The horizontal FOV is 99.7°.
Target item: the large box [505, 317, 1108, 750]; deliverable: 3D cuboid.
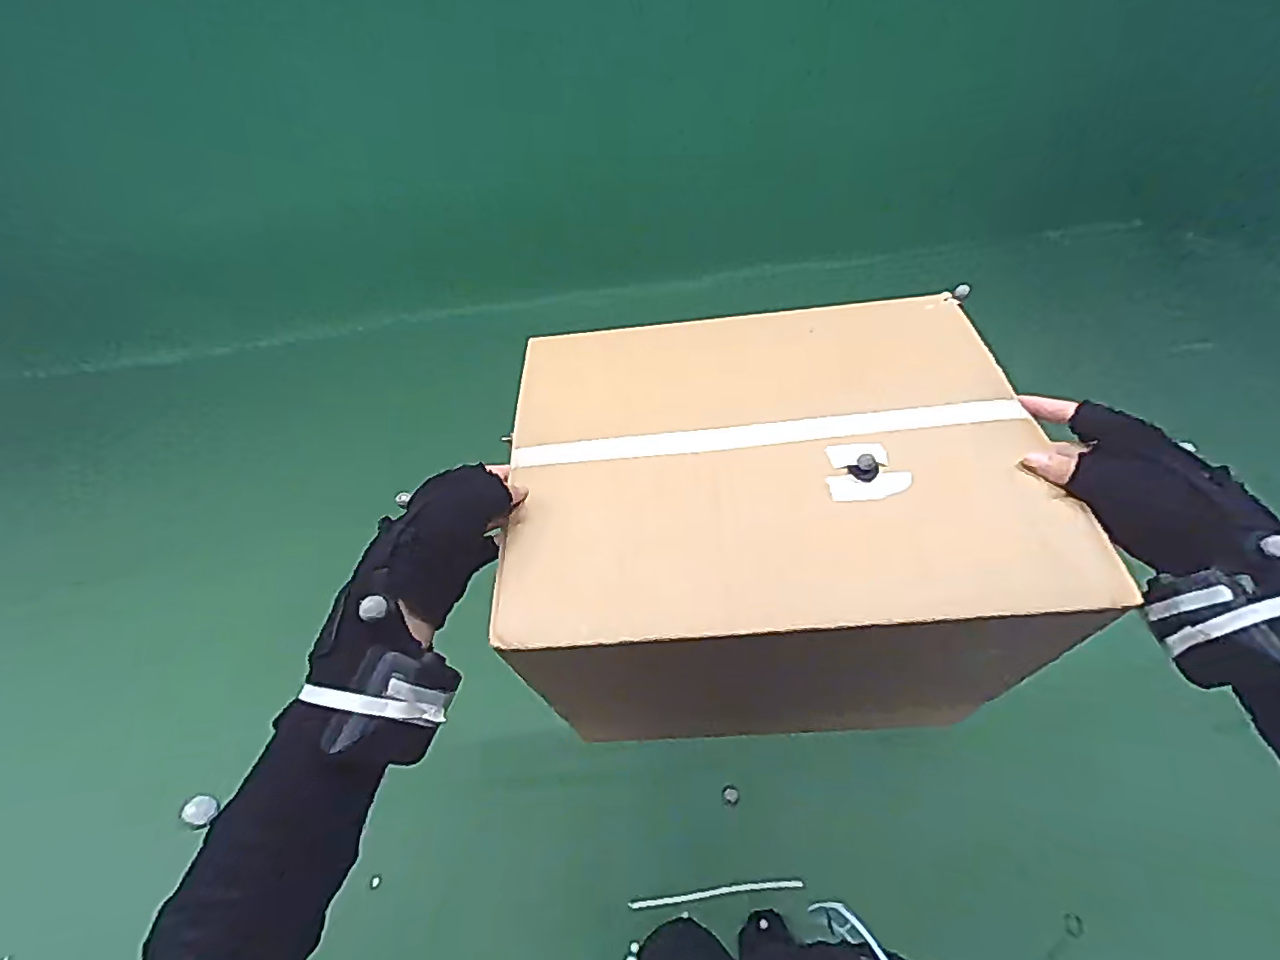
[{"bbox_3d":[0.113,0.071,0.561,0.408,0.320,0.320,-5,53,4],"label":"large box"}]
